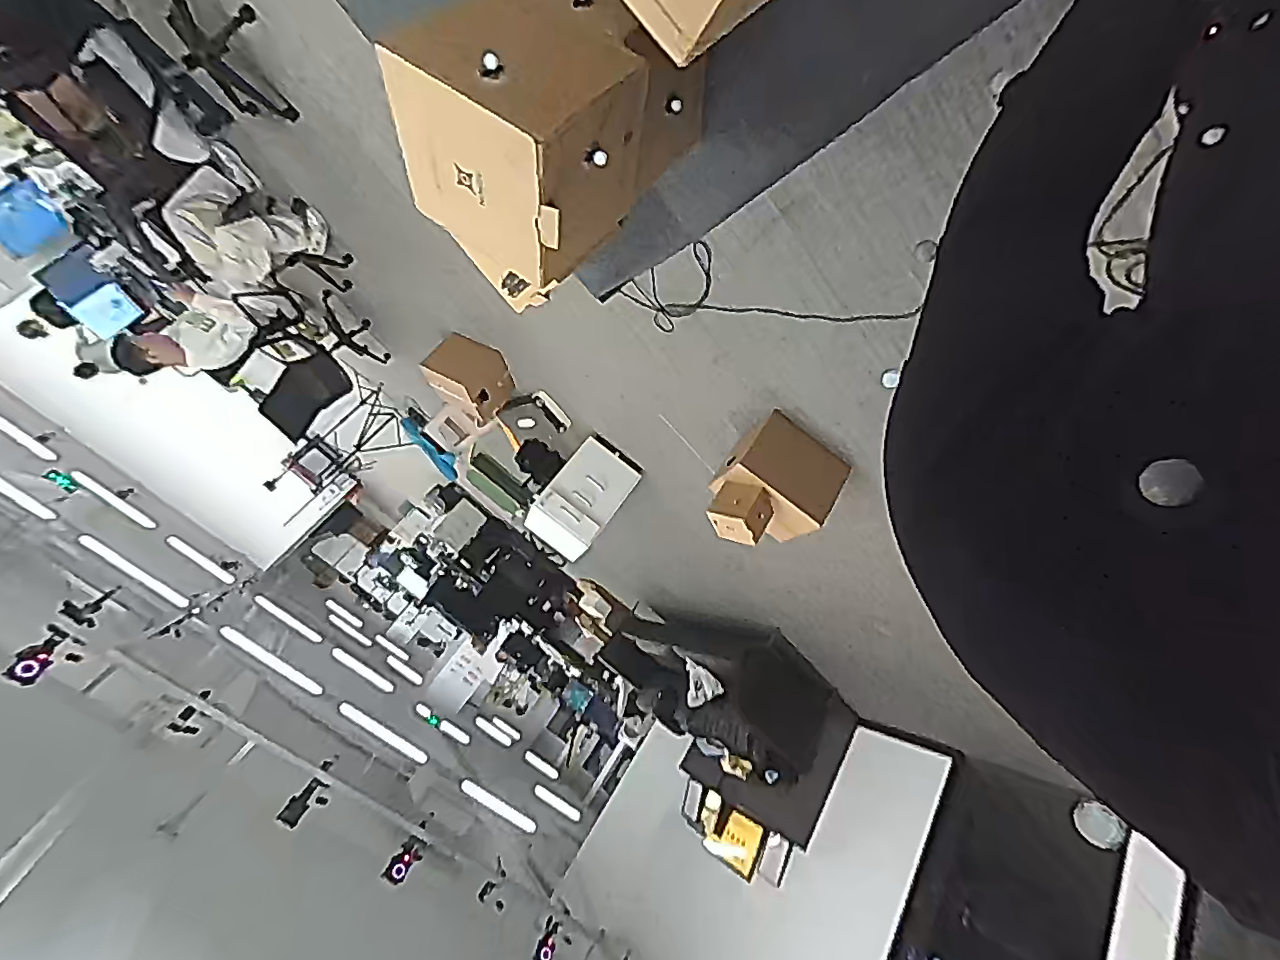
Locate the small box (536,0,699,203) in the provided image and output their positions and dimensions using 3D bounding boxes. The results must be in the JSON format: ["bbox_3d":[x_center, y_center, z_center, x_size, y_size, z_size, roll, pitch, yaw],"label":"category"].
[{"bbox_3d":[-0.041,-0.464,0.627,0.179,0.176,0.168,29,154,17],"label":"small box"}]

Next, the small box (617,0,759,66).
[{"bbox_3d":[0.047,-0.373,0.267,0.179,0.176,0.168,44,156,-15],"label":"small box"}]

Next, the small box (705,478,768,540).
[{"bbox_3d":[0.389,0.111,2.135,0.179,0.176,0.168,11,145,41],"label":"small box"}]

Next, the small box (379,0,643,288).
[{"bbox_3d":[-0.117,-0.342,0.549,0.179,0.176,0.168,34,155,7],"label":"small box"}]
